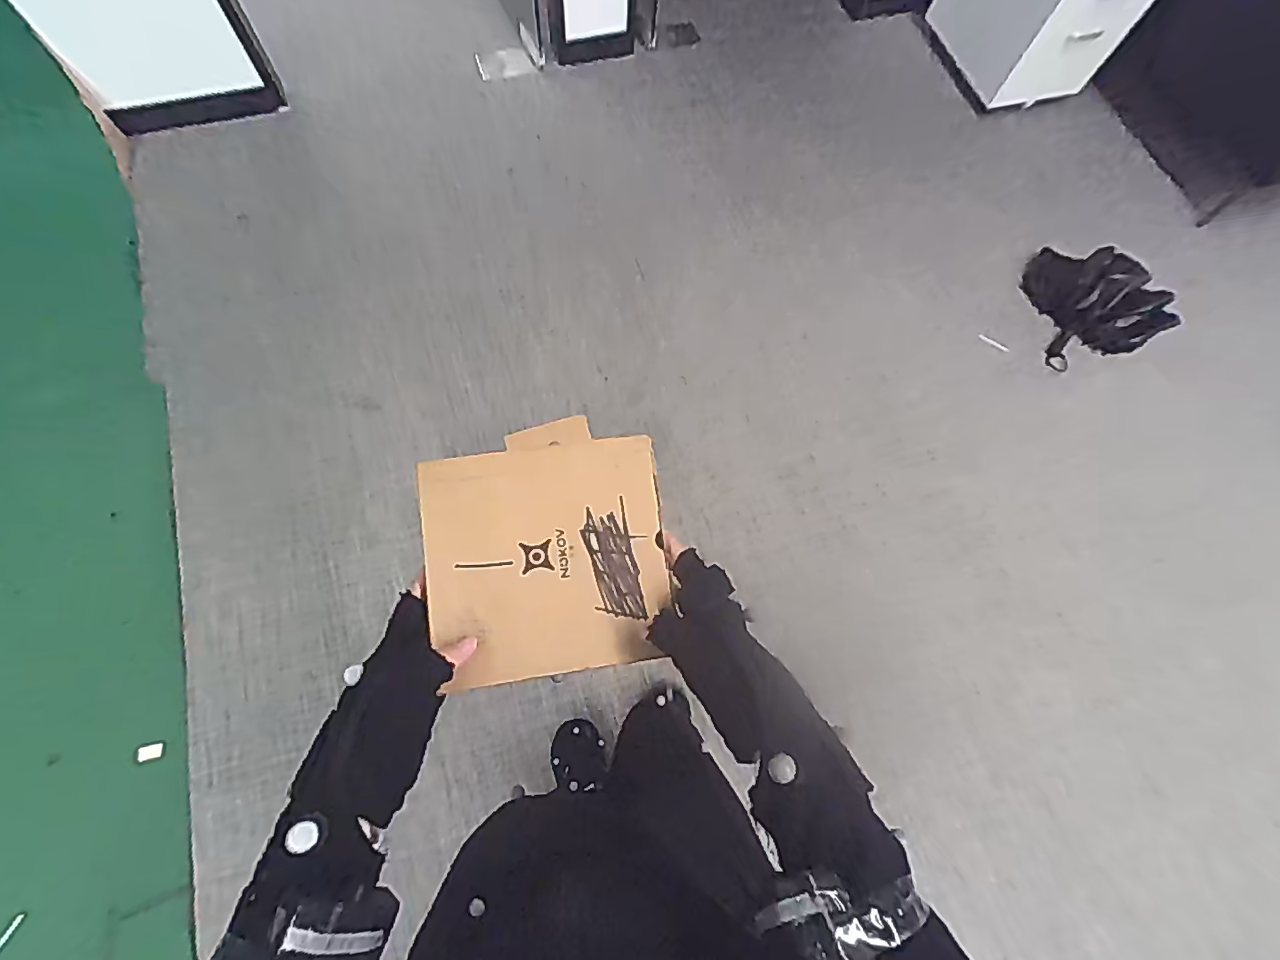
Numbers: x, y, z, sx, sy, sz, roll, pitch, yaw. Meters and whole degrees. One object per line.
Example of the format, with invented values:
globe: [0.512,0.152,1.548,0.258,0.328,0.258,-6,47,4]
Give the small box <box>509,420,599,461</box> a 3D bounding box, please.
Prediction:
small box: [-0.168,-0.004,1.163,0.179,0.176,0.168,-16,72,-10]

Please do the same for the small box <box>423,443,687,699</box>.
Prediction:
small box: [-0.072,0.076,0.480,0.179,0.176,0.168,-10,81,-7]
